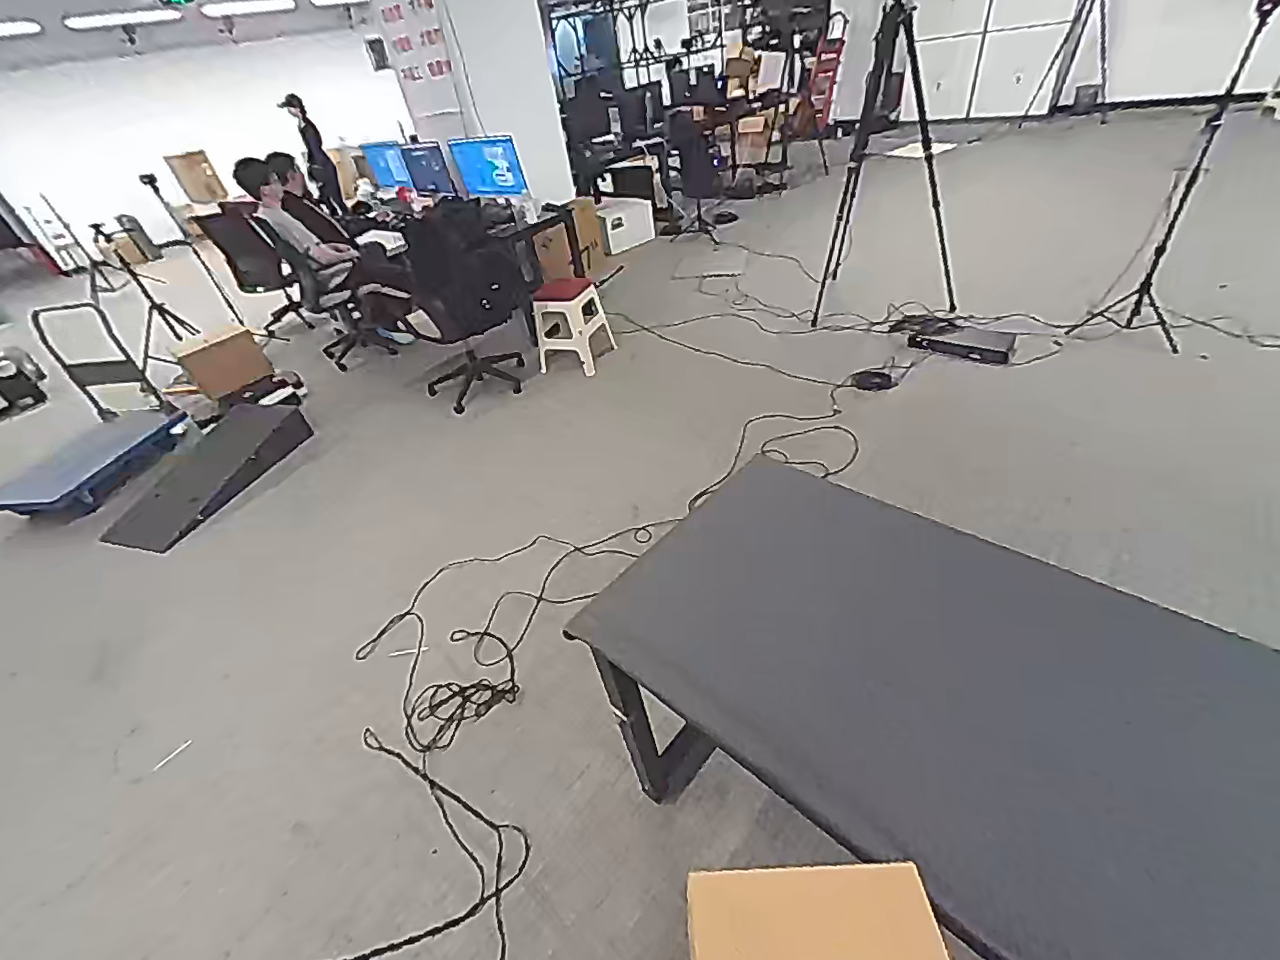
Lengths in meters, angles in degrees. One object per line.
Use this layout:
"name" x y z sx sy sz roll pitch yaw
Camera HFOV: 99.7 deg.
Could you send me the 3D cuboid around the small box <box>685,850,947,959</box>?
"small box" 0.118 0.388 0.375 0.168 0.176 0.179 -3 38 2
